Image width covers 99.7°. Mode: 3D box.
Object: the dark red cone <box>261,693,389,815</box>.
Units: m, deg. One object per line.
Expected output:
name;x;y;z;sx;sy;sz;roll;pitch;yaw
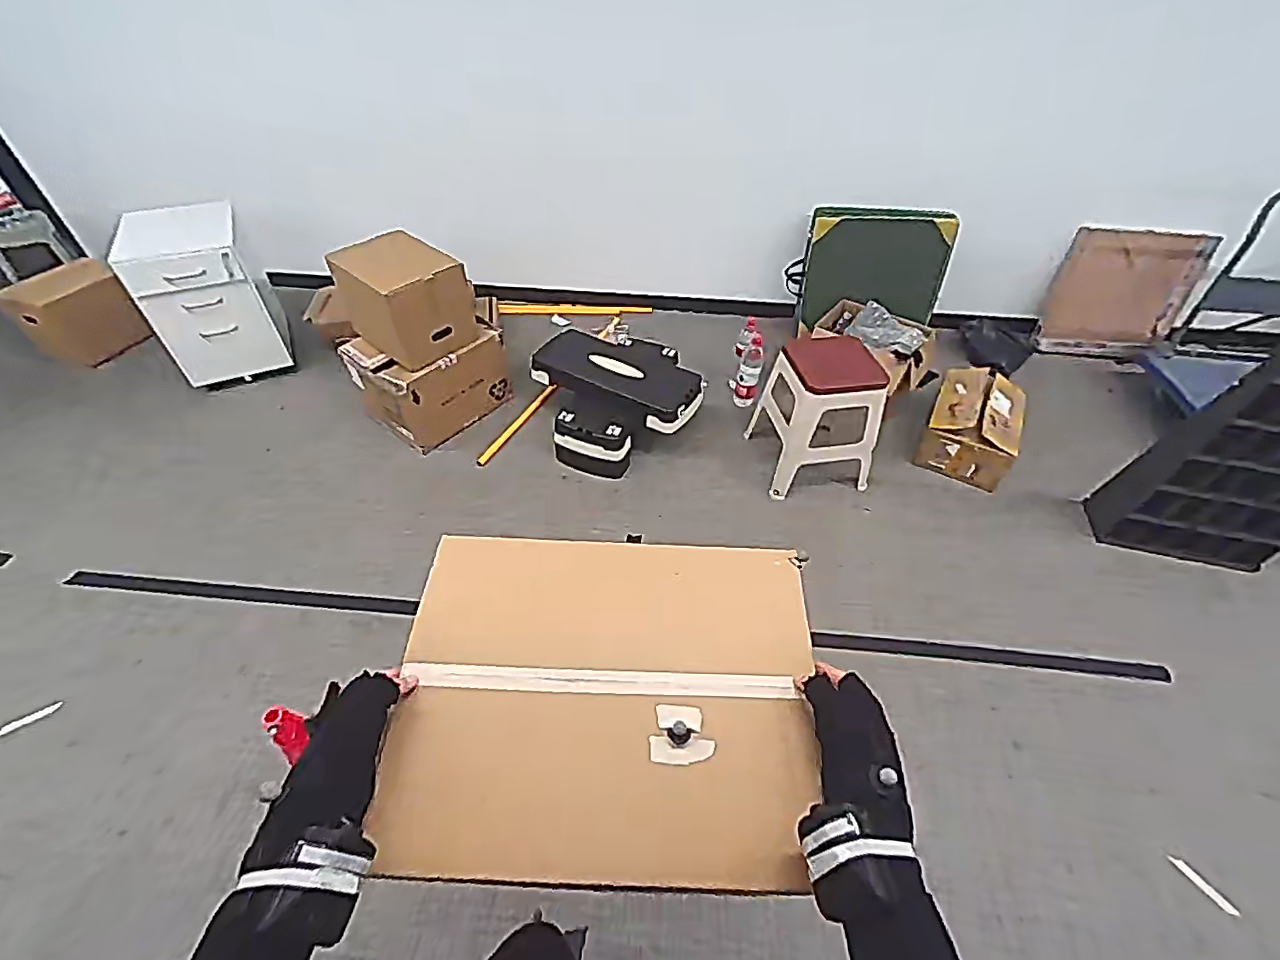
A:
dark red cone;-0.739;0.577;1.205;0.201;0.394;0.202;10;47;7

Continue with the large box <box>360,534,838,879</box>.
large box;-0.036;0.282;0.650;0.408;0.320;0.320;3;53;-1
